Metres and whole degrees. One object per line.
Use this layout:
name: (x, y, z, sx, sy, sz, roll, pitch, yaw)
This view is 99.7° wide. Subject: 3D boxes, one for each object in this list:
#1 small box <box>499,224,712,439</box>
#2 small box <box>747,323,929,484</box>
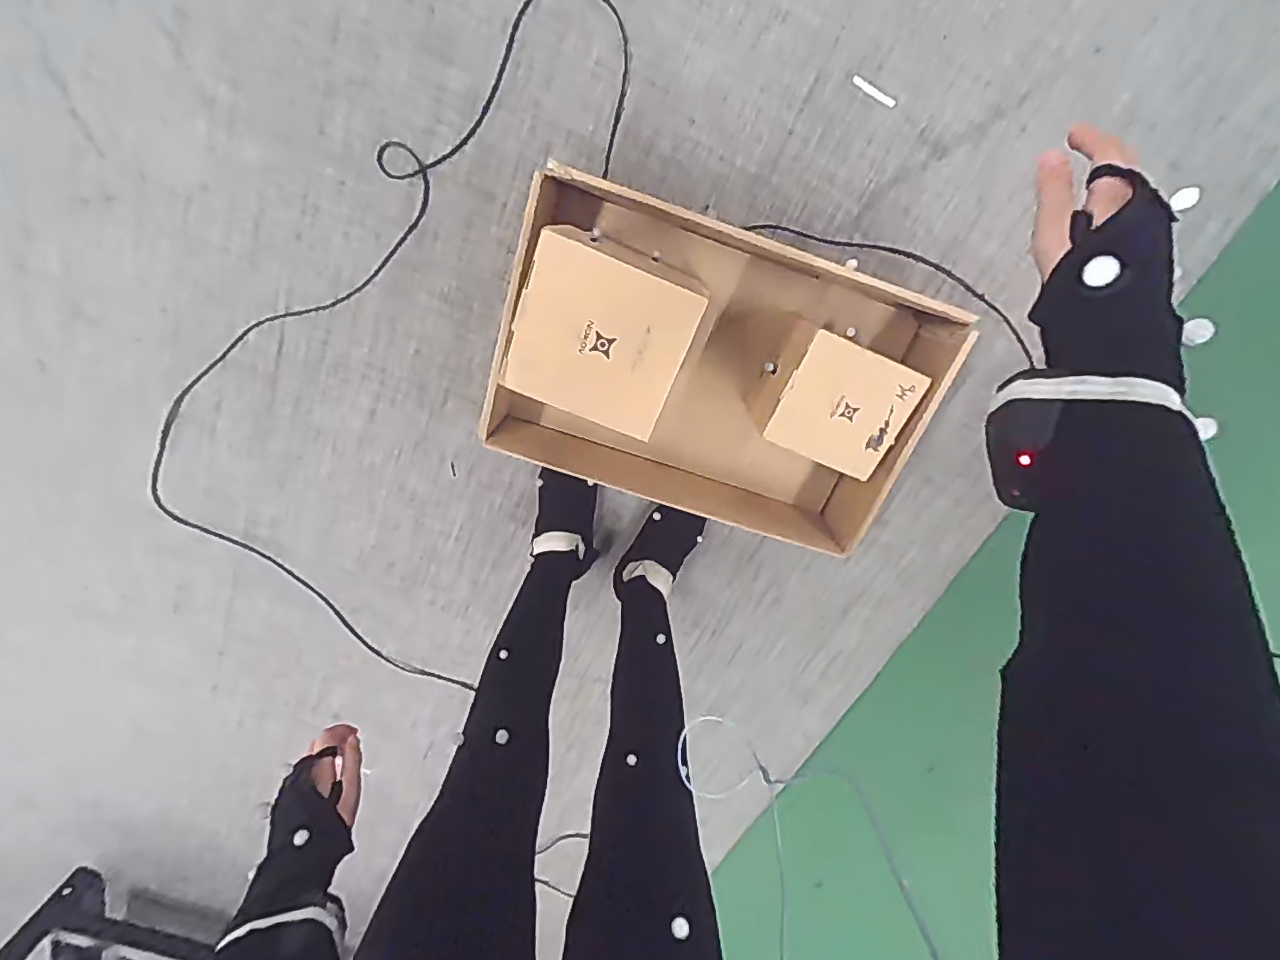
small box: (-0.037, -0.175, 0.624, 0.179, 0.176, 0.168, 21, 114, -9)
small box: (0.279, -0.124, 0.813, 0.179, 0.176, 0.168, 23, 112, -8)
